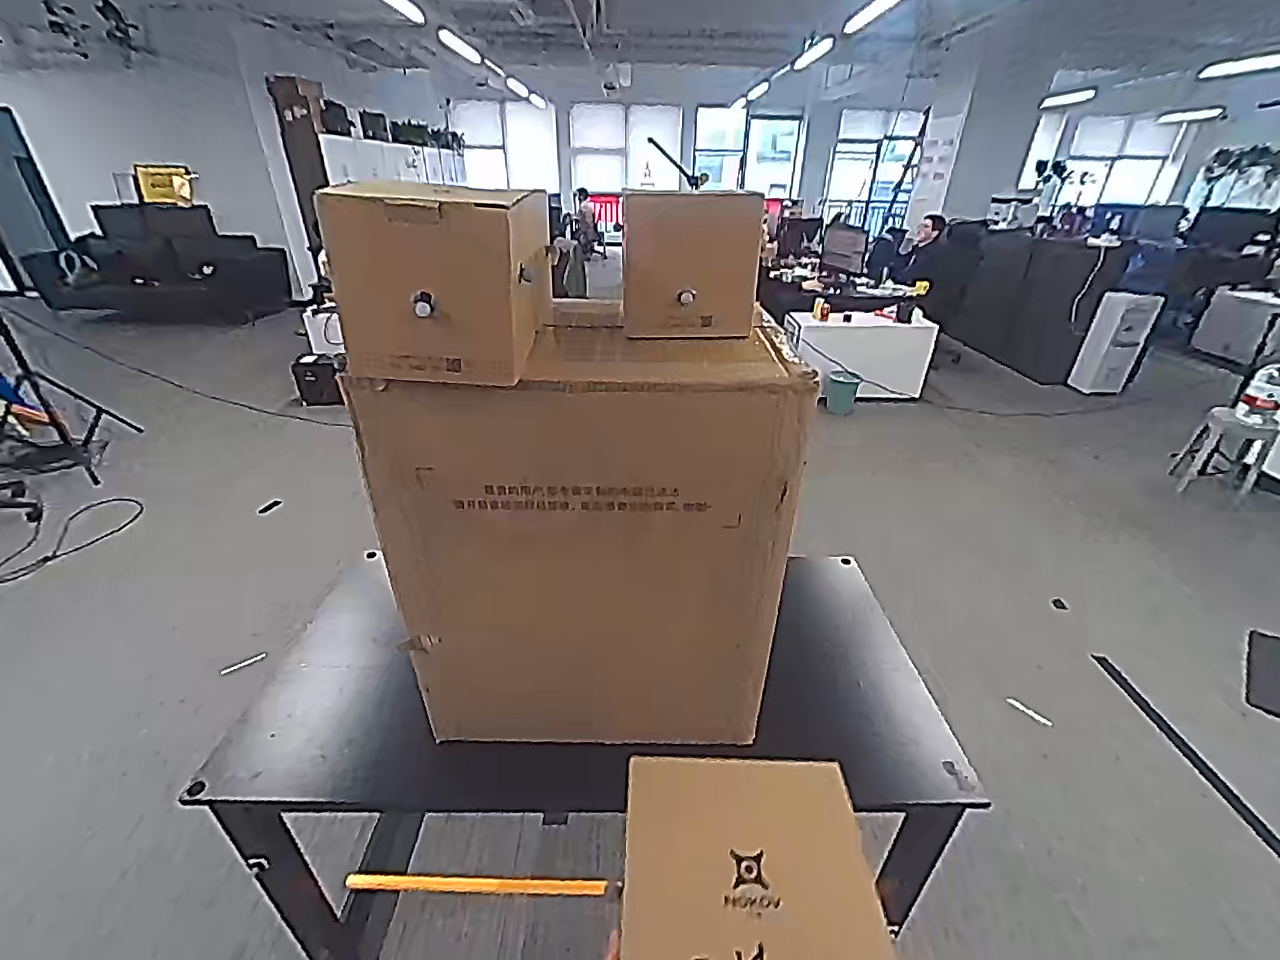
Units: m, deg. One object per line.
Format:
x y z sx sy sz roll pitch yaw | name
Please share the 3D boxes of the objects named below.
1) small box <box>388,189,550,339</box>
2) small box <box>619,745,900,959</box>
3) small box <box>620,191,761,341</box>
-0.218 -0.300 0.744 0.168 0.176 0.179 0 29 -2 | small box
0.072 0.327 0.394 0.168 0.176 0.179 1 29 3 | small box
0.056 -0.292 0.729 0.168 0.176 0.179 -2 29 -2 | small box
